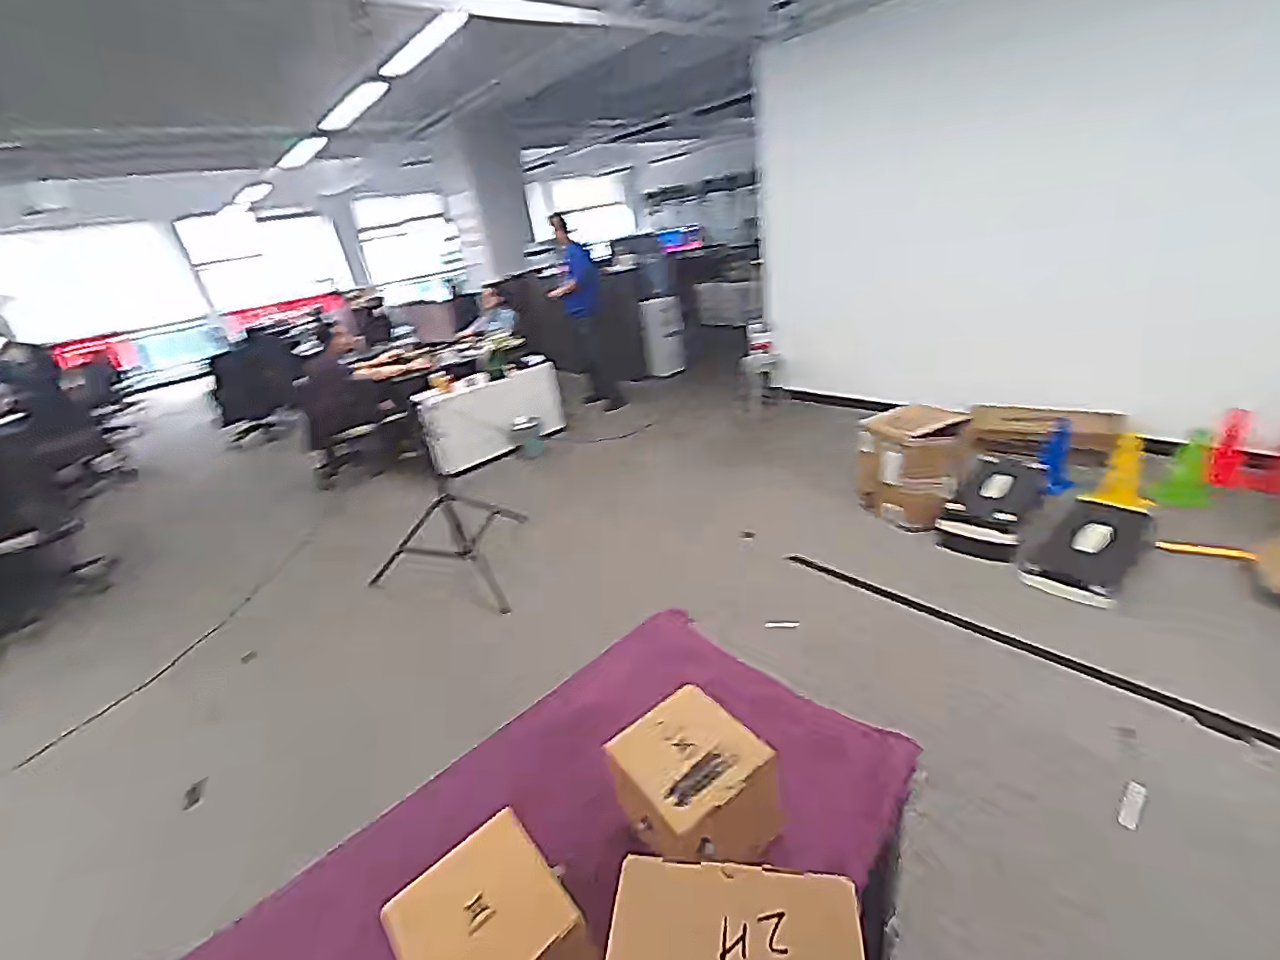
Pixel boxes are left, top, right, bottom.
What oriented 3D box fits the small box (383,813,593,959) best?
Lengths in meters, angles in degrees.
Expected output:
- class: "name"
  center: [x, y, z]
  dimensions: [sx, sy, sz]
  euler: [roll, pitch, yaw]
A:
- class: "small box"
  center: [-0.169, 0.556, 0.635]
  dimensions: [0.168, 0.176, 0.179]
  euler: [-28, 31, -33]
